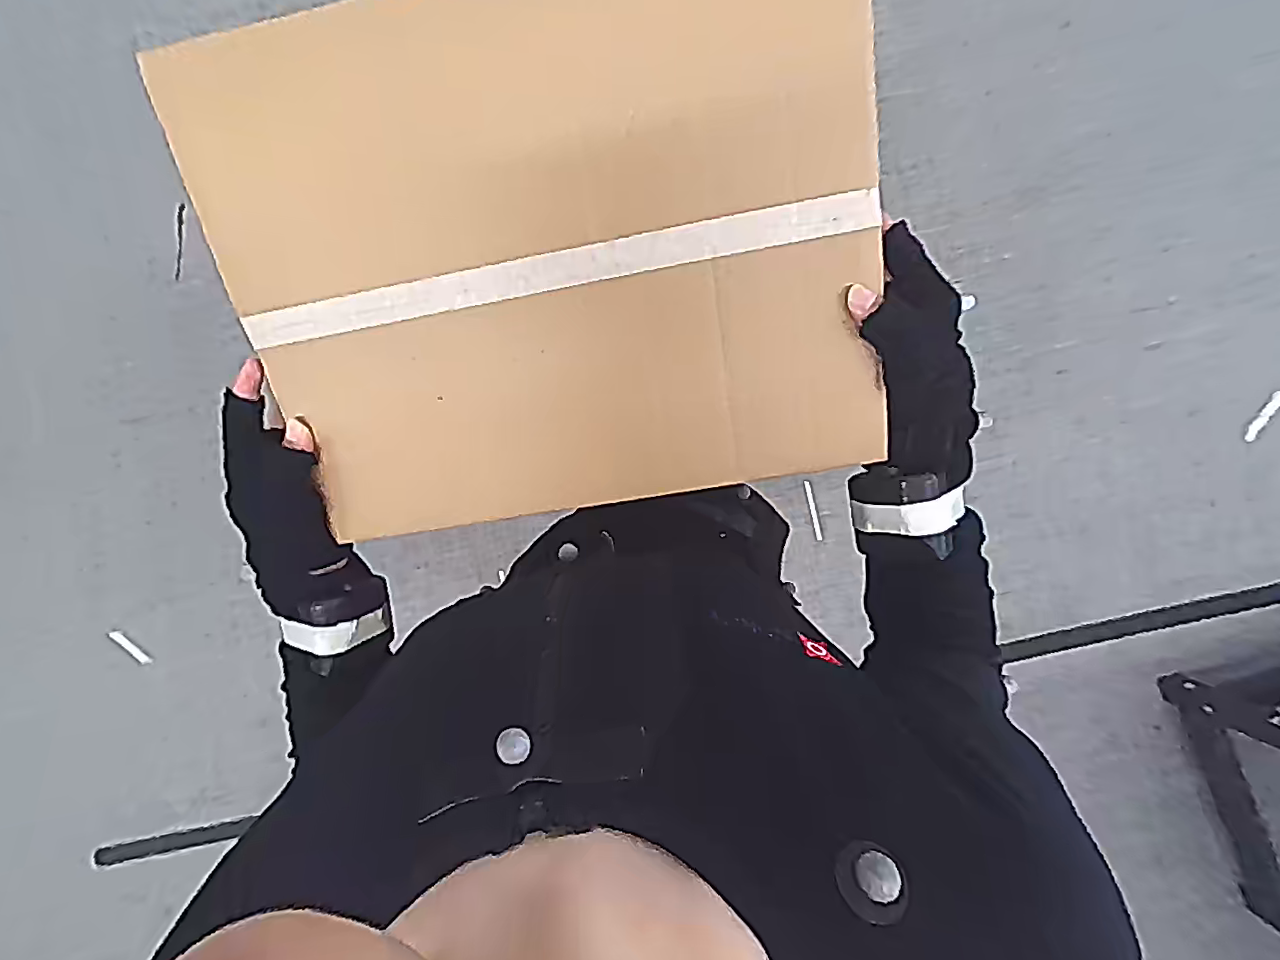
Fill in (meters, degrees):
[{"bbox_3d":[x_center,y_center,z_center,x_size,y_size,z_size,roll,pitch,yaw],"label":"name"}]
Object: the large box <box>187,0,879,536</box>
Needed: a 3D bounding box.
[{"bbox_3d":[-0.049,-0.177,0.491,0.408,0.320,0.320,-9,109,6],"label":"large box"}]
